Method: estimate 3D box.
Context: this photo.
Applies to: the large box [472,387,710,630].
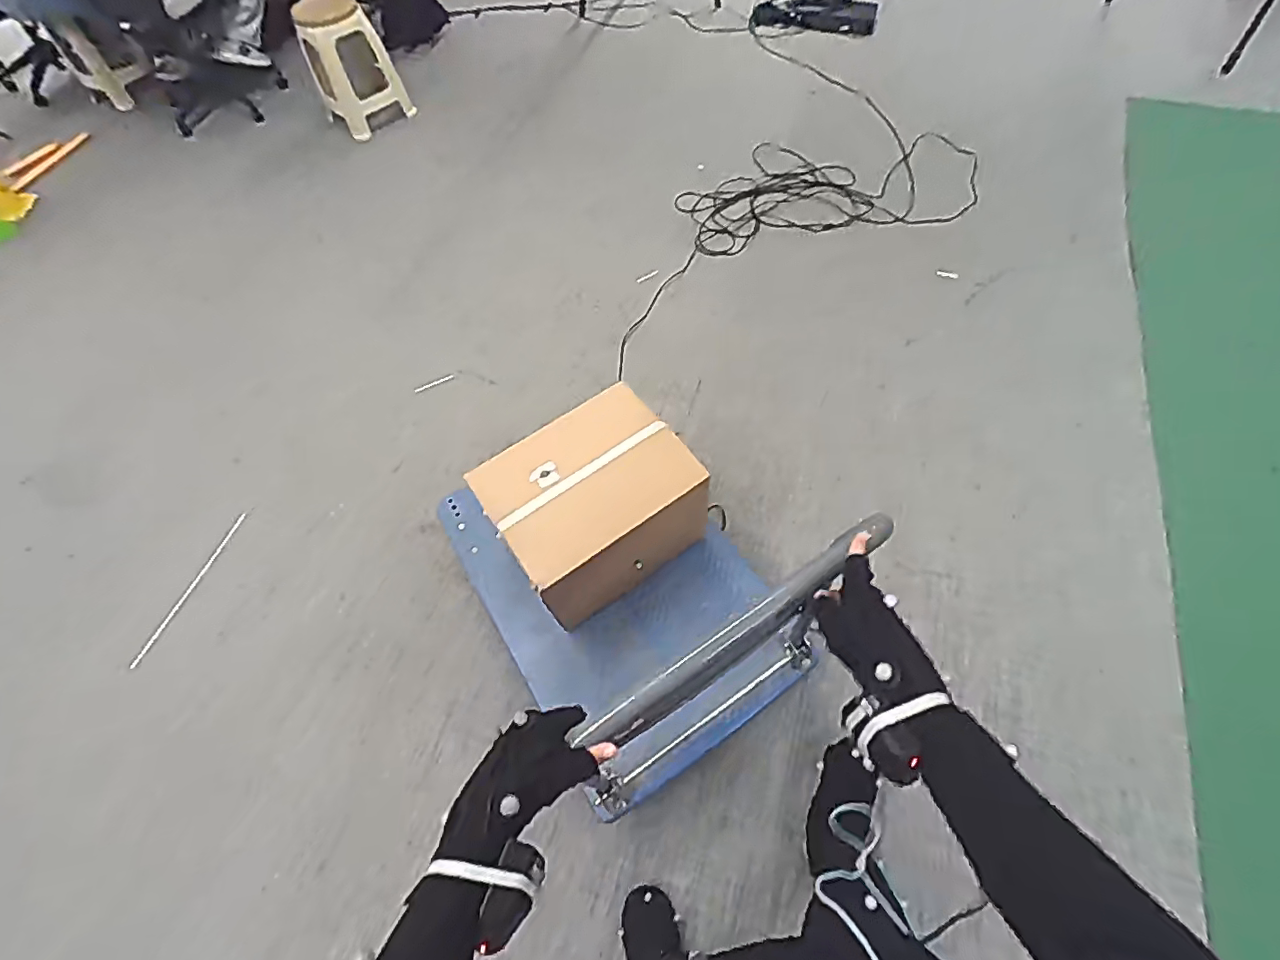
[{"bbox_3d":[-0.092,0.071,1.233,0.408,0.320,0.320,-35,64,-14],"label":"large box"}]
